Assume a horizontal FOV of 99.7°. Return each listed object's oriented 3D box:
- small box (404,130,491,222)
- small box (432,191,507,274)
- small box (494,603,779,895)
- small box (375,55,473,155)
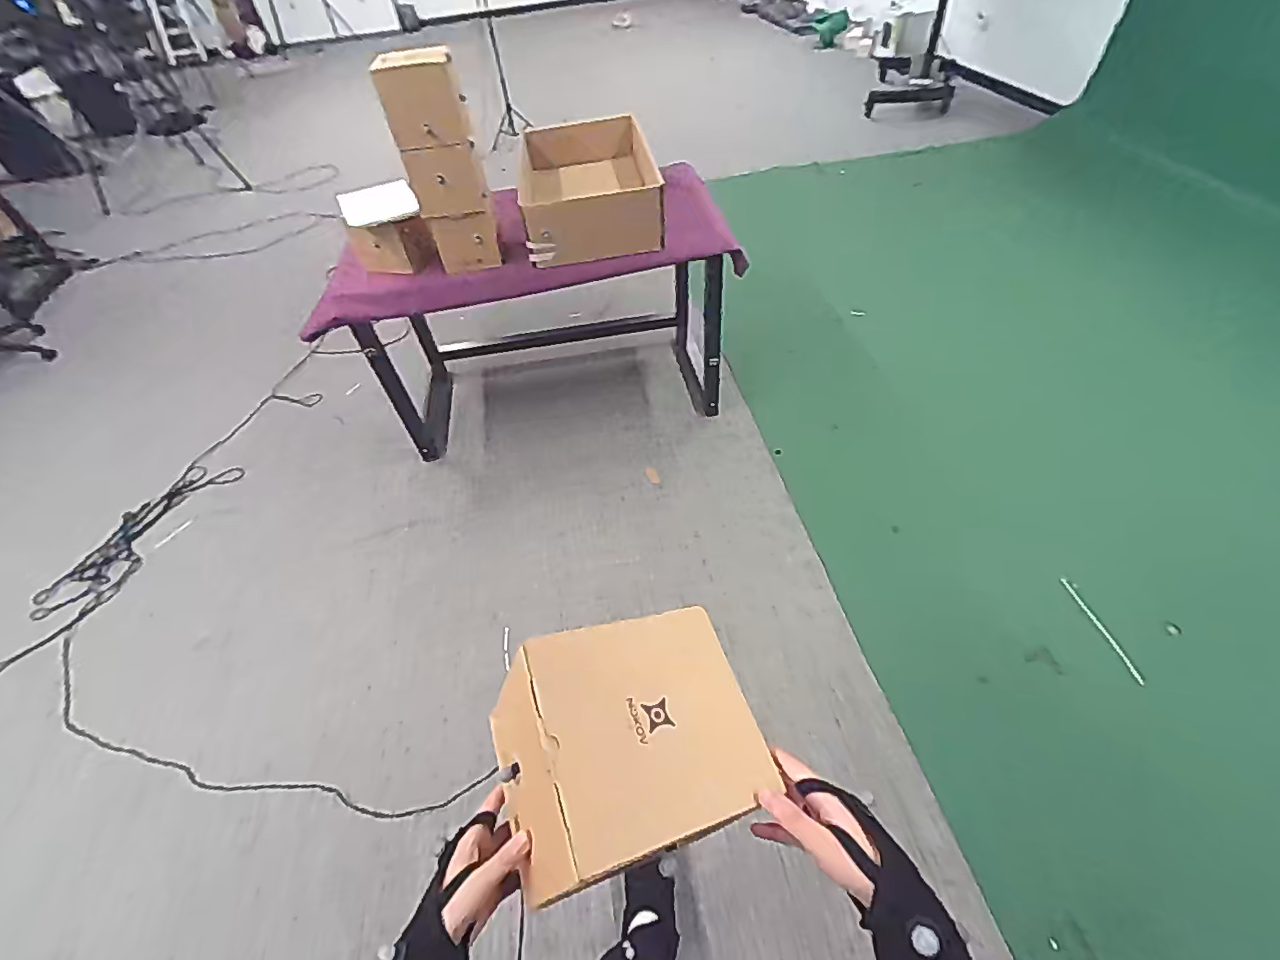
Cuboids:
[{"bbox_3d":[-0.513,-0.825,1.471,0.179,0.176,0.168,-9,48,-2],"label":"small box"},{"bbox_3d":[-0.496,-0.726,1.600,0.168,0.176,0.179,-8,48,-2],"label":"small box"},{"bbox_3d":[-0.019,0.233,0.478,0.179,0.176,0.168,-5,52,-27],"label":"small box"},{"bbox_3d":[-0.525,-0.933,1.348,0.179,0.176,0.168,-8,47,-3],"label":"small box"}]
